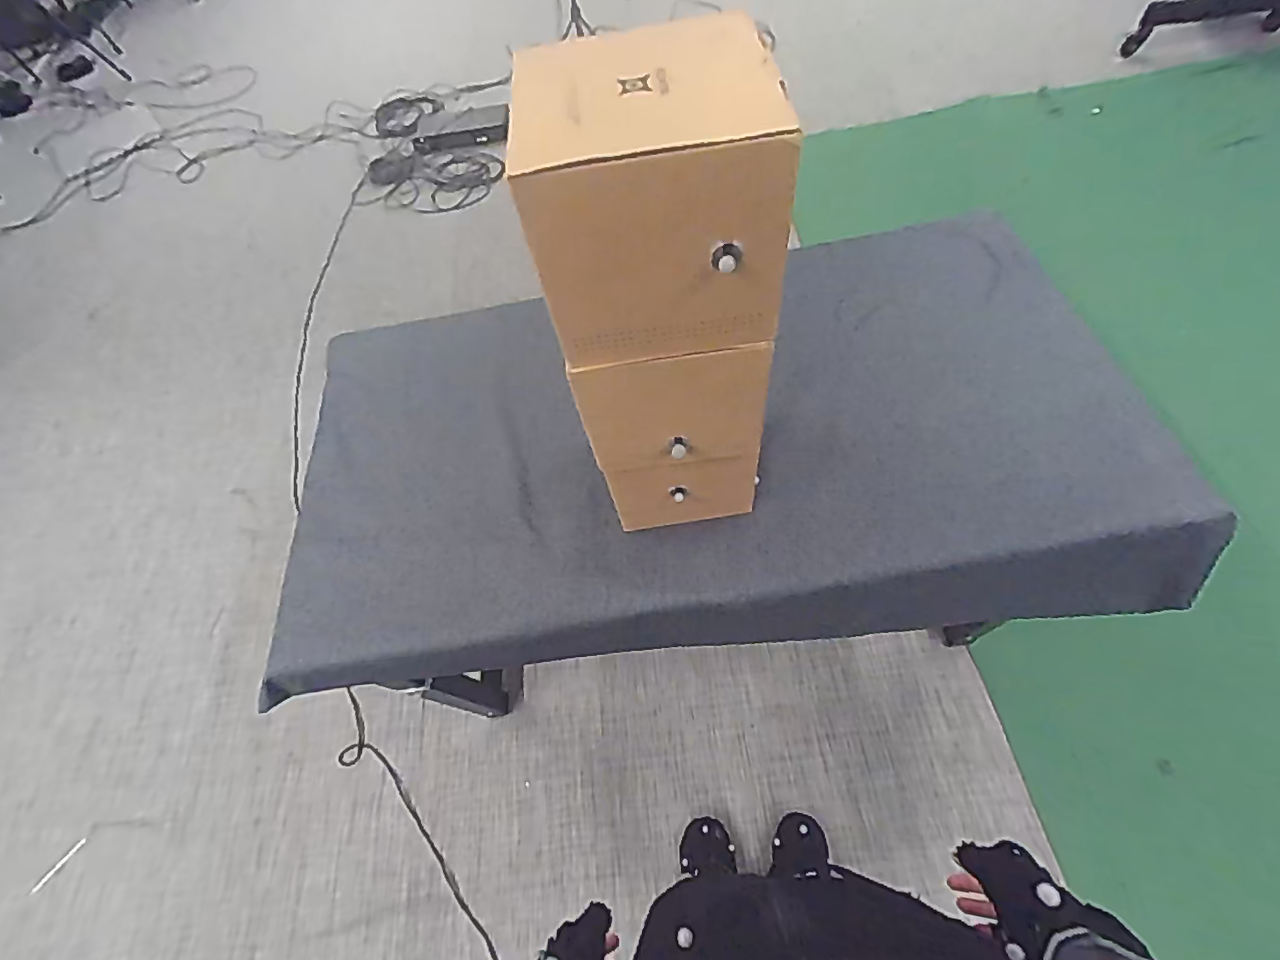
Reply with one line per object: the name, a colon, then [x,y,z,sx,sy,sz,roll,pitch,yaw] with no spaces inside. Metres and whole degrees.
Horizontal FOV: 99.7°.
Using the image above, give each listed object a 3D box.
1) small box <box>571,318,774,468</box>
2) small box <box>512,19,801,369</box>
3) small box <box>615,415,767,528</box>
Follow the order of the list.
small box: [0.029,-0.129,0.566,0.179,0.176,0.168,-8,59,3]
small box: [0.011,-0.212,0.426,0.179,0.176,0.168,-9,59,4]
small box: [0.052,-0.054,0.709,0.179,0.176,0.168,-12,60,0]
